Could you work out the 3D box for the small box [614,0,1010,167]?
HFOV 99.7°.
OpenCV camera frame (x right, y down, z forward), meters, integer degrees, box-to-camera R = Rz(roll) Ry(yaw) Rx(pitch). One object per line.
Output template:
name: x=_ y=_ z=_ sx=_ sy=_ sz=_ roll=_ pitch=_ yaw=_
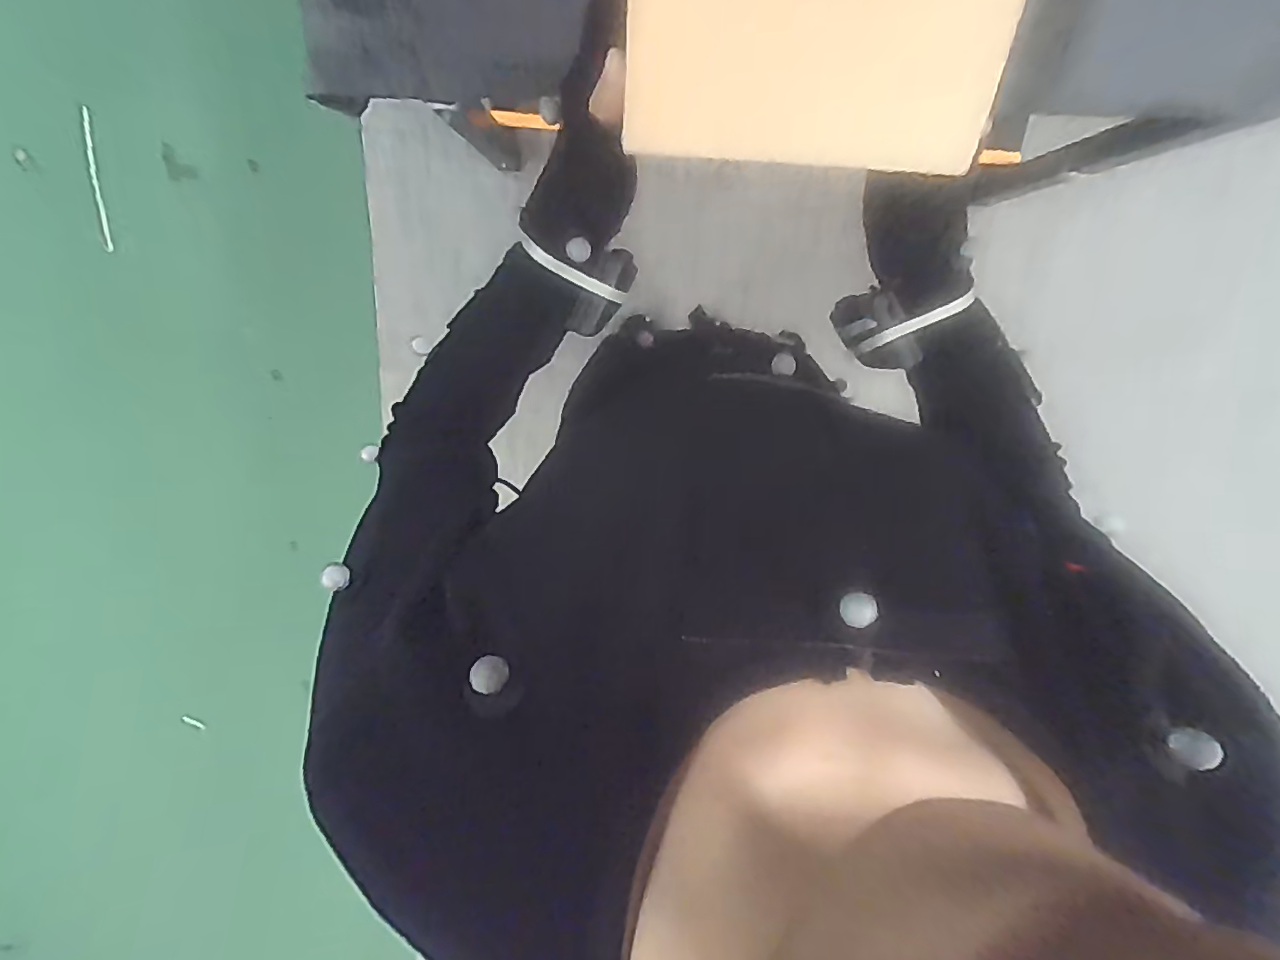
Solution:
small box: x=0.077 y=-0.268 z=0.279 sx=0.168 sy=0.176 sz=0.179 roll=3 pitch=120 yaw=1
